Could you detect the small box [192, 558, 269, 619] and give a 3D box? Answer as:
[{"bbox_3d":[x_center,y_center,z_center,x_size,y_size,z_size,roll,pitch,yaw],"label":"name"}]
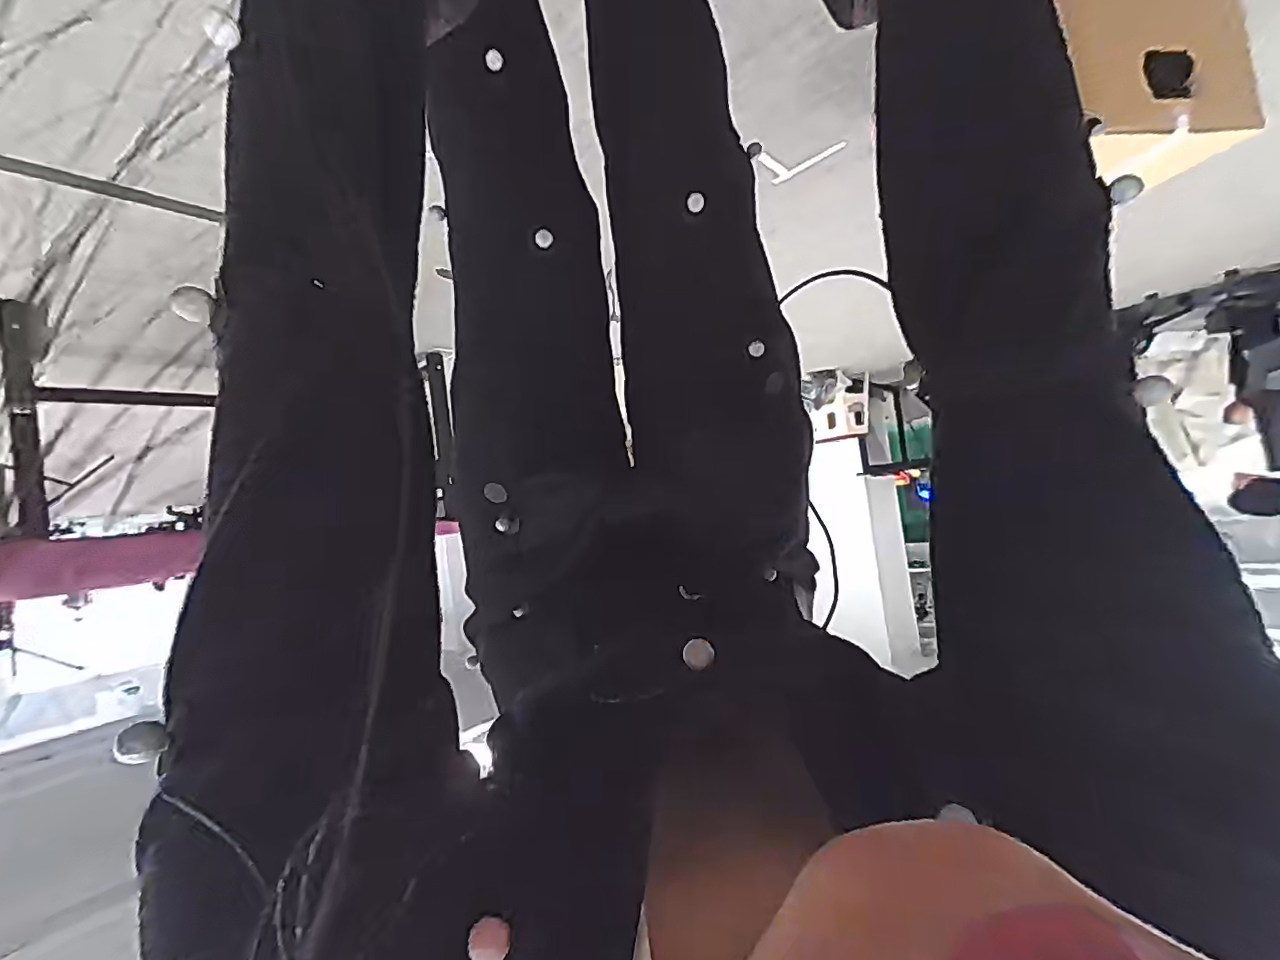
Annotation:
[{"bbox_3d":[-1.353,0.351,1.780,0.179,0.176,0.168,-9,178,41],"label":"small box"}]
